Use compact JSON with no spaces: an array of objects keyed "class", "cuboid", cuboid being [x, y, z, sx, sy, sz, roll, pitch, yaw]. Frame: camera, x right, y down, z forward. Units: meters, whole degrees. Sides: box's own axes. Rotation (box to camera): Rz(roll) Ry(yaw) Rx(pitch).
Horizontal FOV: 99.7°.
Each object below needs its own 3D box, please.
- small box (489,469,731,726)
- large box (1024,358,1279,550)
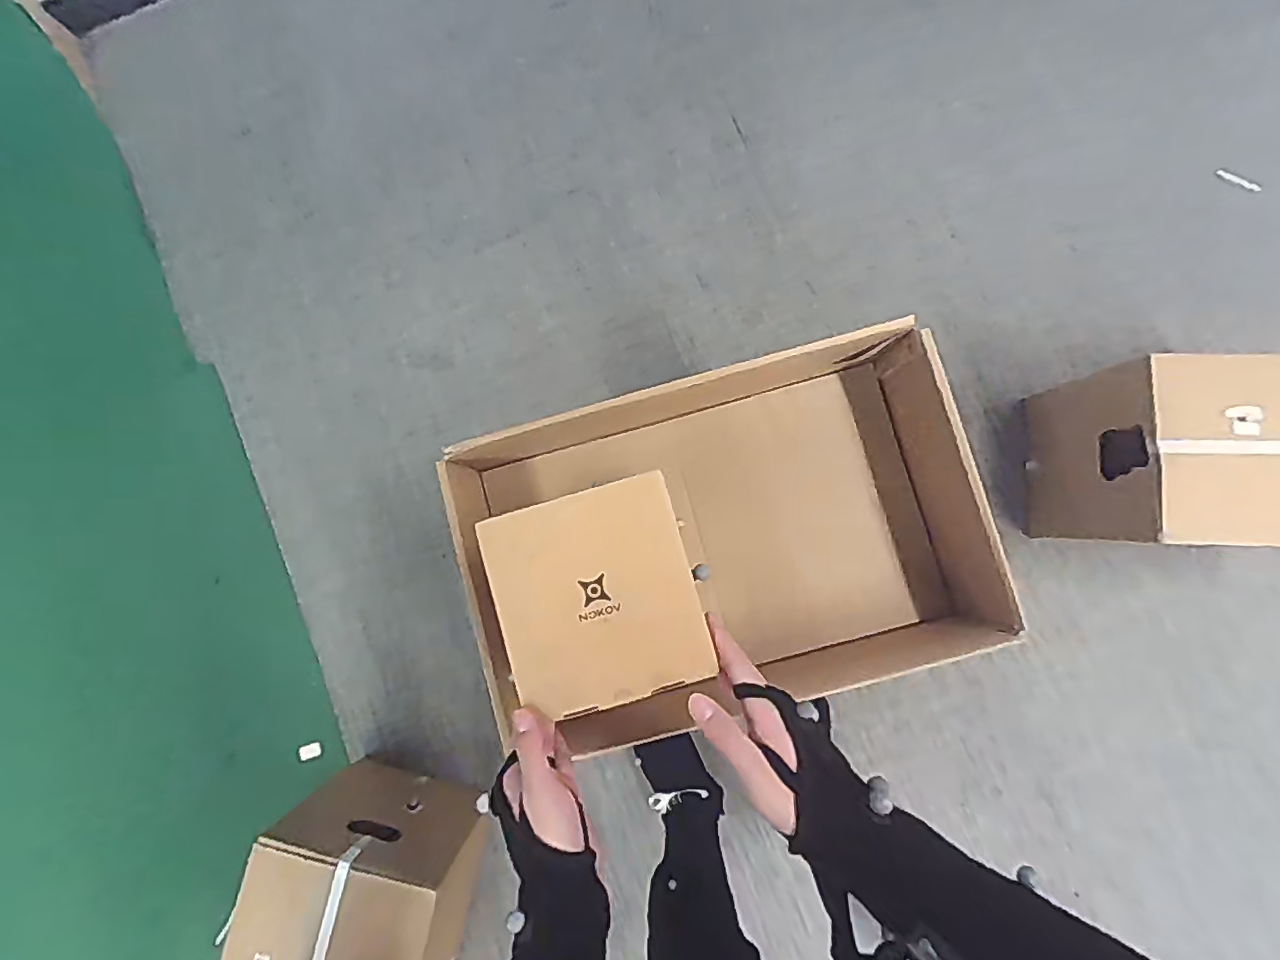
[{"class":"small box","cuboid":[-0.025,0.101,0.520,0.168,0.176,0.179,-16,85,0]},{"class":"large box","cuboid":[1.025,-0.034,1.010,0.408,0.320,0.320,1,85,3]}]
